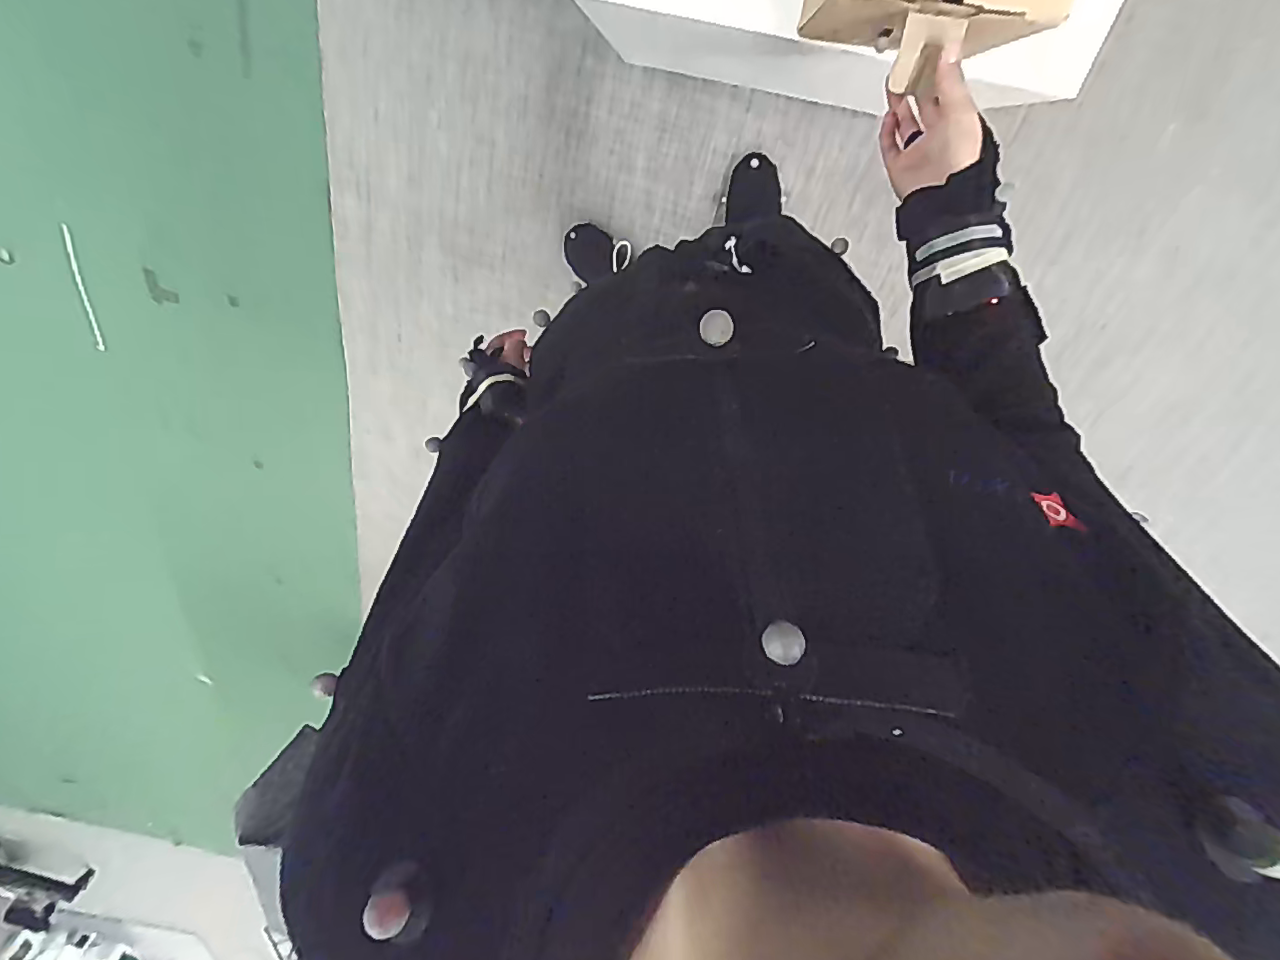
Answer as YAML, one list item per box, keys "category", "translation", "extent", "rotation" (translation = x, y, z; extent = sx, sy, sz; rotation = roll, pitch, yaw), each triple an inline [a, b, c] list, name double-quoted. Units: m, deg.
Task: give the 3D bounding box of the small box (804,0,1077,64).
- category: "small box"
  translation: [0.235, -0.443, 0.406]
  extent: [0.168, 0.176, 0.179]
  rotation: [8, 121, 0]
